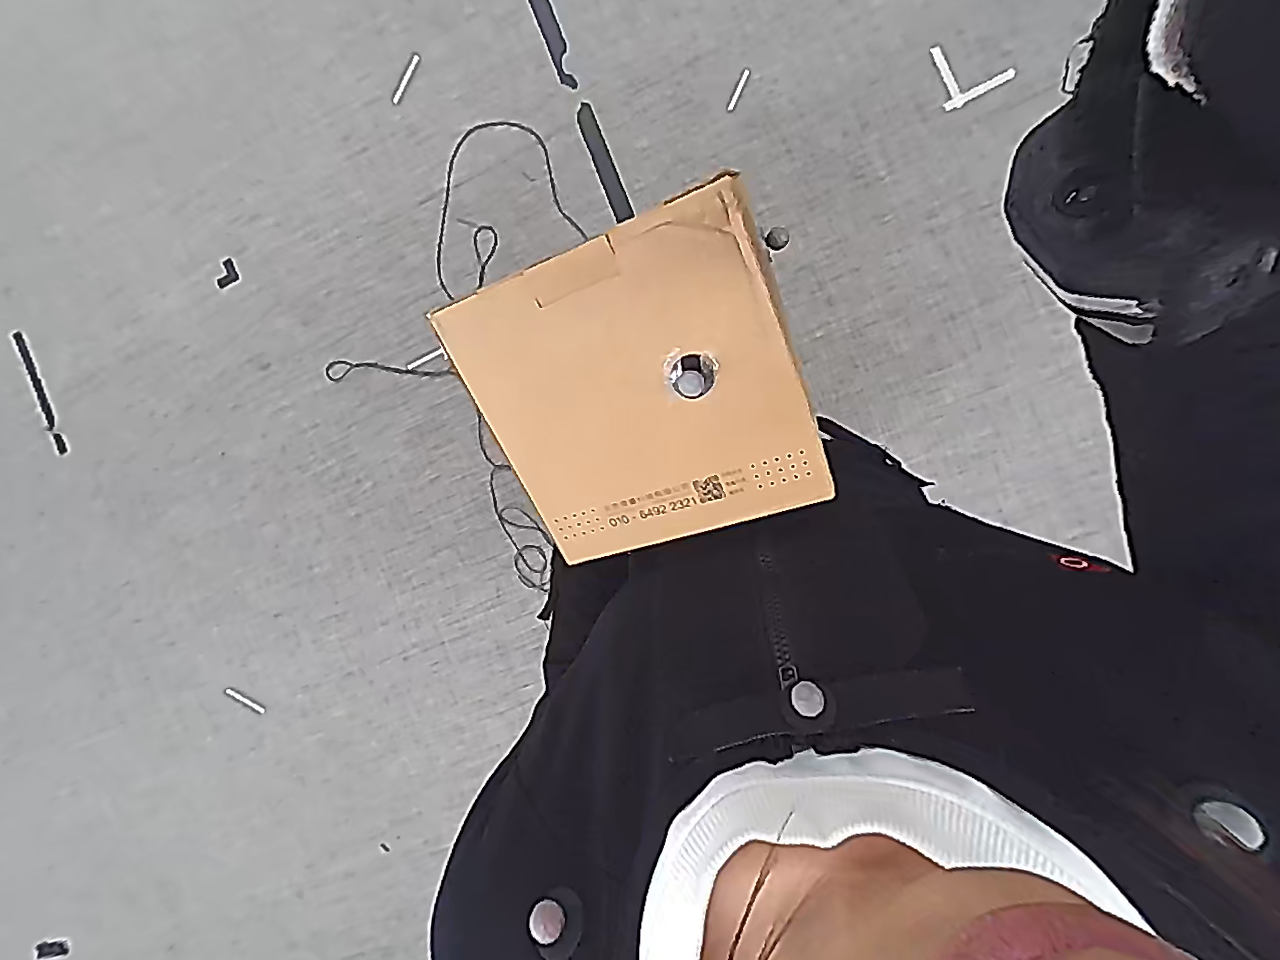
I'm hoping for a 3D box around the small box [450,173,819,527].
[{"bbox_3d":[0.015,-0.083,0.370,0.168,0.179,0.176,-16,114,20],"label":"small box"}]
